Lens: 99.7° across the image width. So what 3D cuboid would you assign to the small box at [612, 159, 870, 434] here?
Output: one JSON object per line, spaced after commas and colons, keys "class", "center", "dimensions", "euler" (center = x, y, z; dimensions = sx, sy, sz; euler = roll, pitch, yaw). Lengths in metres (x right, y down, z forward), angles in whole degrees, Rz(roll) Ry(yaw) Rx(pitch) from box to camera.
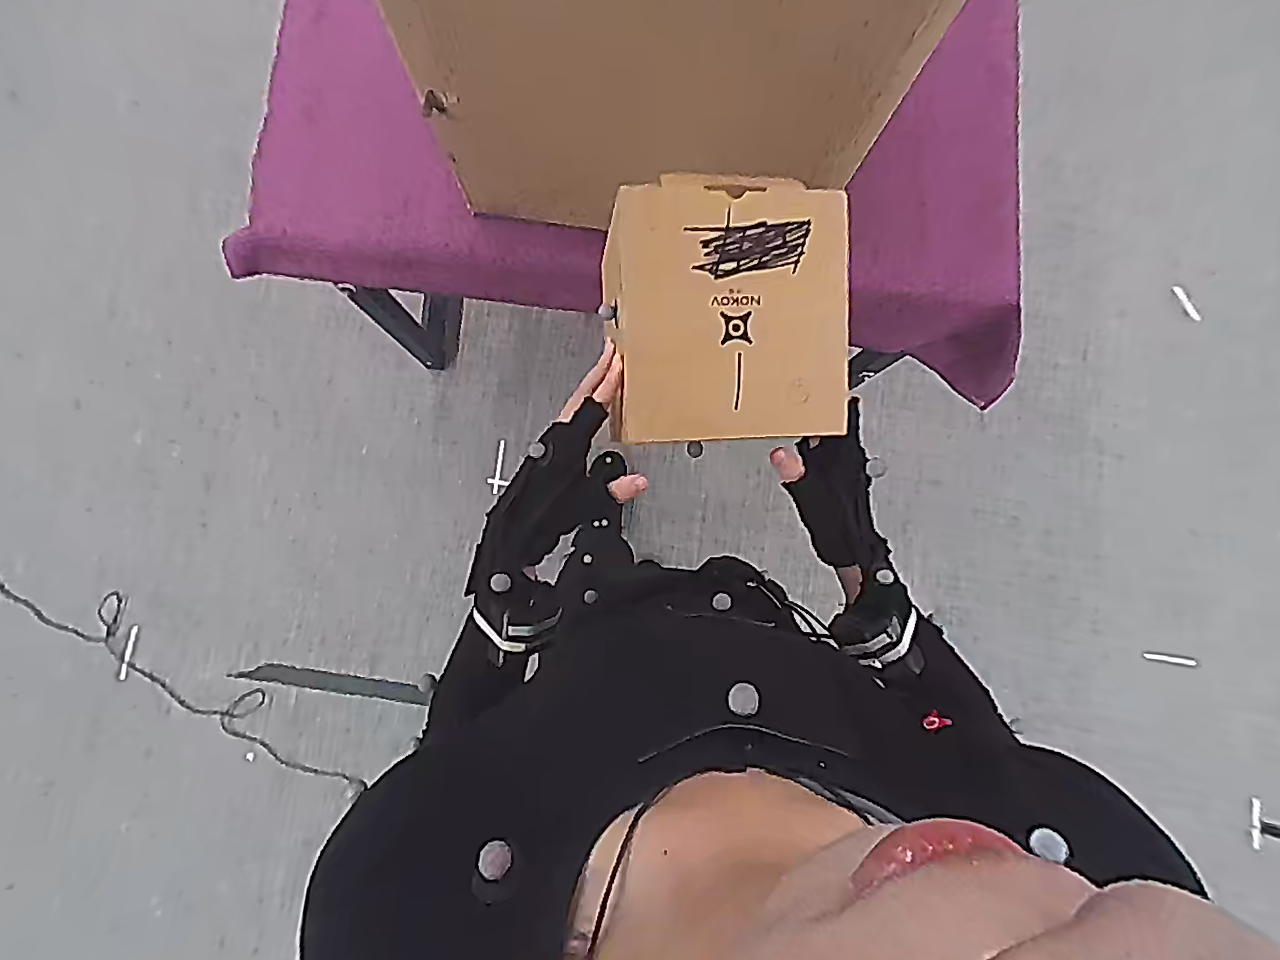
{"class": "small box", "center": [0.066, -0.128, 0.442], "dimensions": [0.168, 0.176, 0.179], "euler": [-2, 95, -7]}
